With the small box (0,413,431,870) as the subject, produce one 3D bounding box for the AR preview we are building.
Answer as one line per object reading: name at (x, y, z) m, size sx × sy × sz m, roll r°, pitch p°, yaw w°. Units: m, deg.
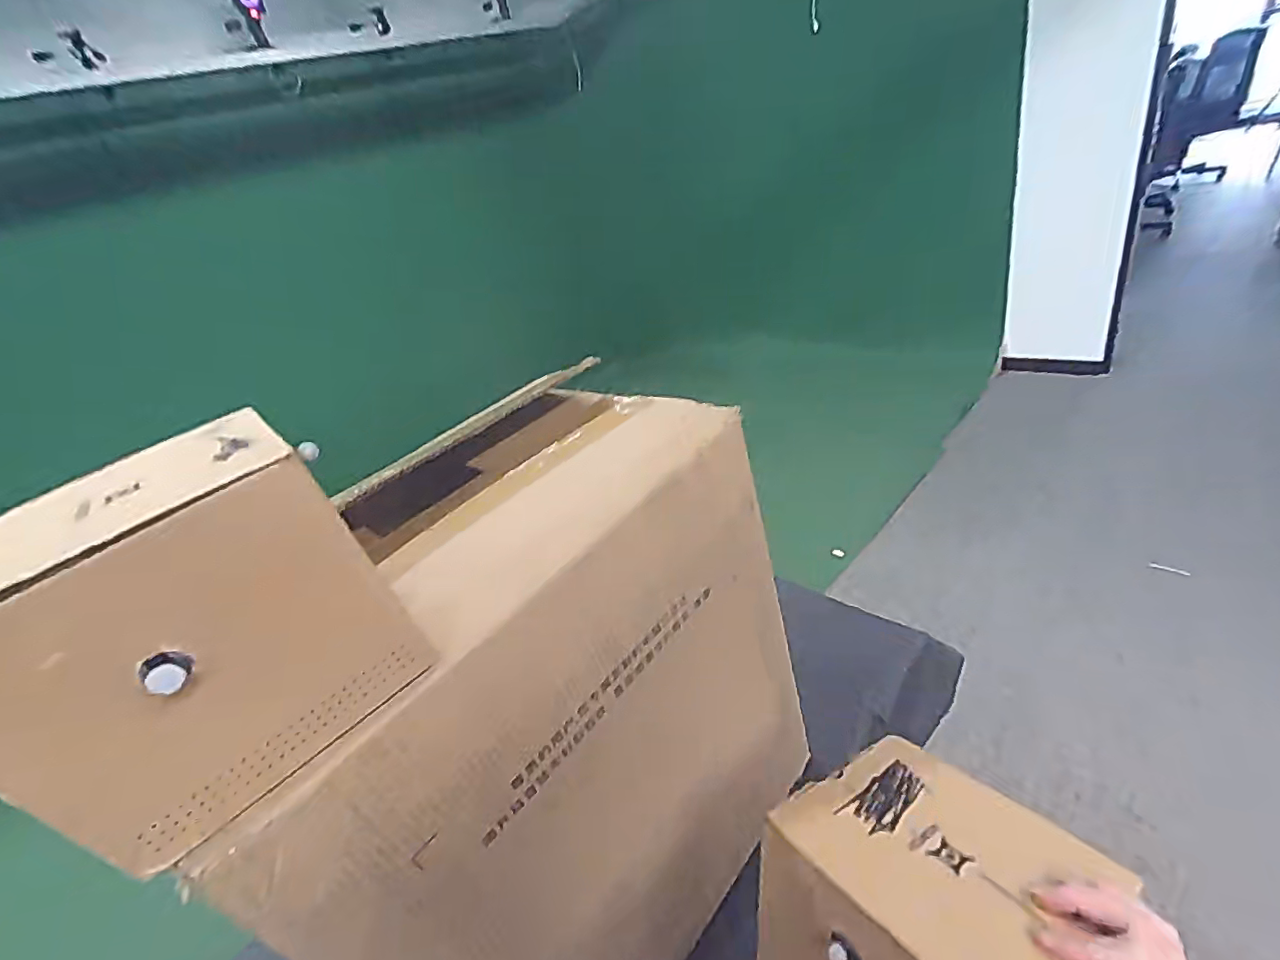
small box at (-0.267, 0.084, 0.334) m, size 0.179 × 0.176 × 0.168 m, roll -37°, pitch 37°, yaw -28°
